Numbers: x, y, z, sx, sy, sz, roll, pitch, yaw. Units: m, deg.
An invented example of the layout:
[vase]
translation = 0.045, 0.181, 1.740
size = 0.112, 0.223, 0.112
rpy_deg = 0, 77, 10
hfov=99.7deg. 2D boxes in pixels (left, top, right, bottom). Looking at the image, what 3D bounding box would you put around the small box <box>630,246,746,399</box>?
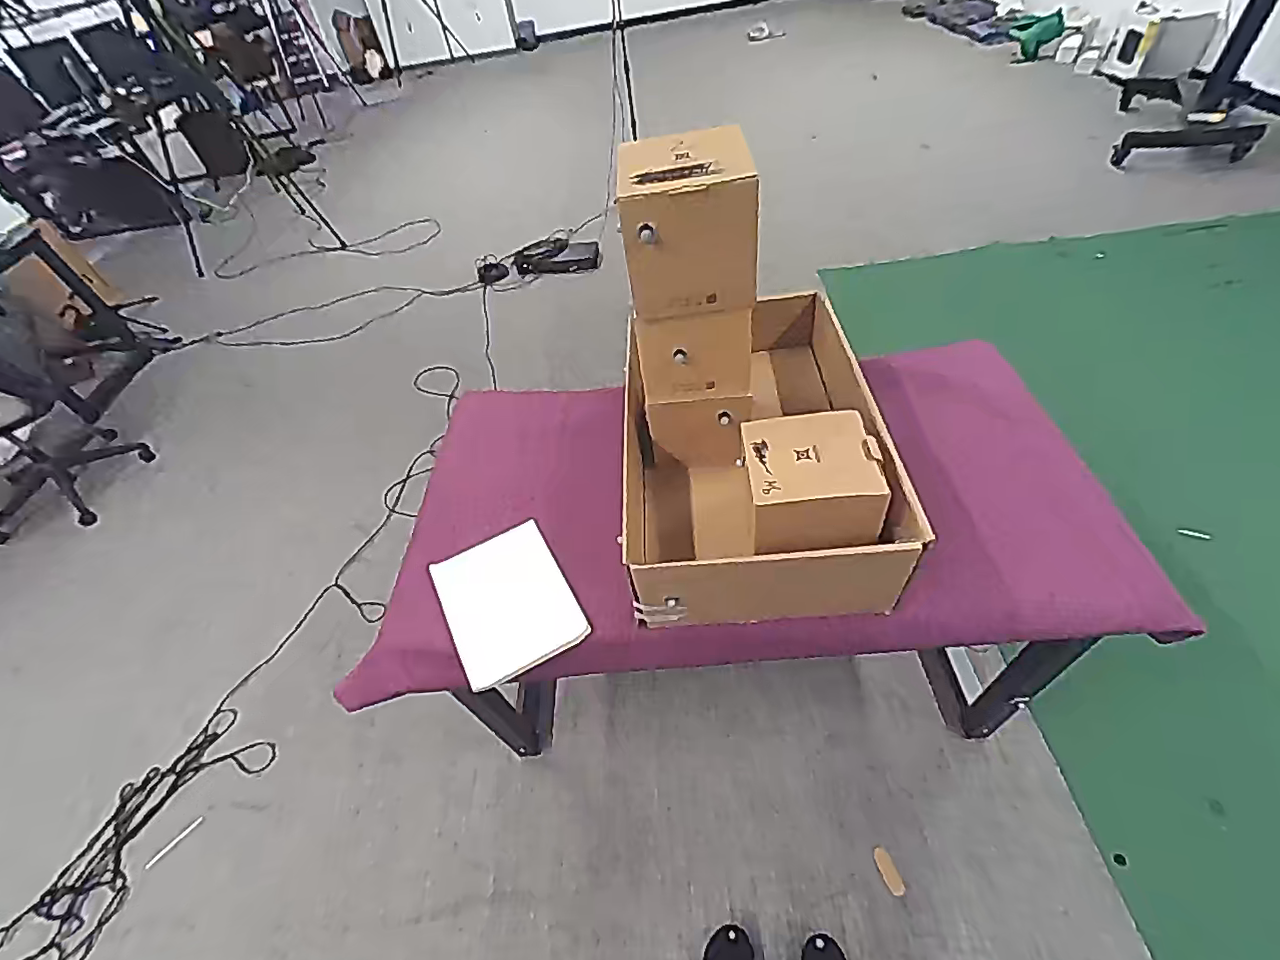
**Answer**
[small box]
translation = 0.081, -0.244, 0.866
size = 0.168, 0.176, 0.179
rpy_deg = -4, 50, 7
